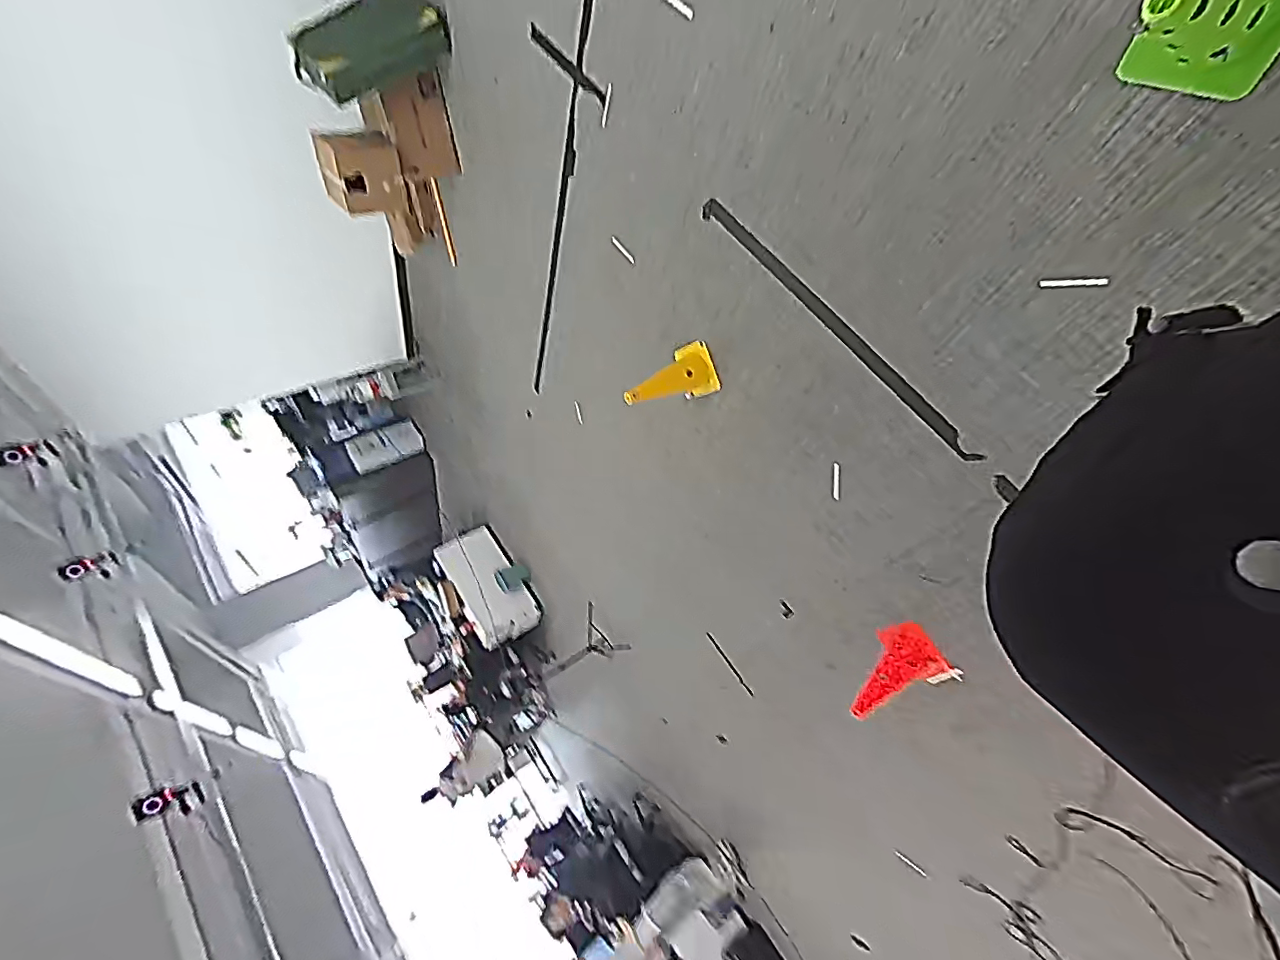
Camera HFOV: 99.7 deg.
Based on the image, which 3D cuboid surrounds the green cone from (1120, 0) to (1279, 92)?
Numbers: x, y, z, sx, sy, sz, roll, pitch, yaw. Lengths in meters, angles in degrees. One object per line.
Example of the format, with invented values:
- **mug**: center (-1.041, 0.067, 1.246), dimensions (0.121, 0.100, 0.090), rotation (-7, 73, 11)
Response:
- **green cone**: center (0.792, -0.678, 0.766), dimensions (0.202, 0.368, 0.200), rotation (42, 145, 30)

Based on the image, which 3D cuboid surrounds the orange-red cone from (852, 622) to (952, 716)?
- **orange-red cone**: center (0.822, 0.661, 1.796), dimensions (0.199, 0.360, 0.198), rotation (57, 149, 12)
